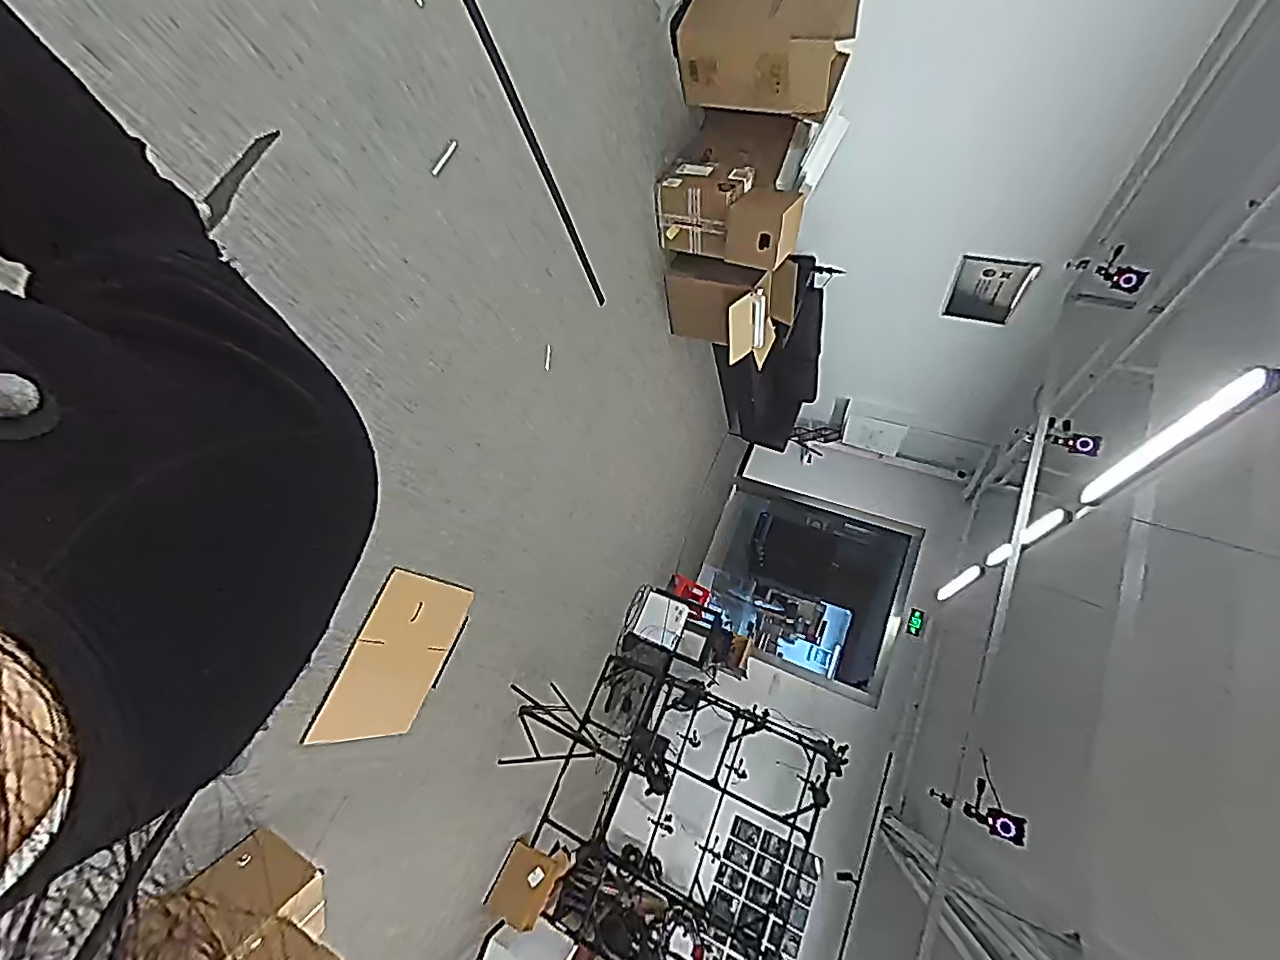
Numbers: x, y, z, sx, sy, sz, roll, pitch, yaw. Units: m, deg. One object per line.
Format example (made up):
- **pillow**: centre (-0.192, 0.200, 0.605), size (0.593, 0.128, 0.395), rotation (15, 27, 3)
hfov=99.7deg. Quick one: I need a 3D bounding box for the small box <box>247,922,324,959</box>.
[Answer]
- **small box**: centre (-1.095, 1.515, 1.645), size (0.179, 0.176, 0.168), rotation (-32, 134, -58)
